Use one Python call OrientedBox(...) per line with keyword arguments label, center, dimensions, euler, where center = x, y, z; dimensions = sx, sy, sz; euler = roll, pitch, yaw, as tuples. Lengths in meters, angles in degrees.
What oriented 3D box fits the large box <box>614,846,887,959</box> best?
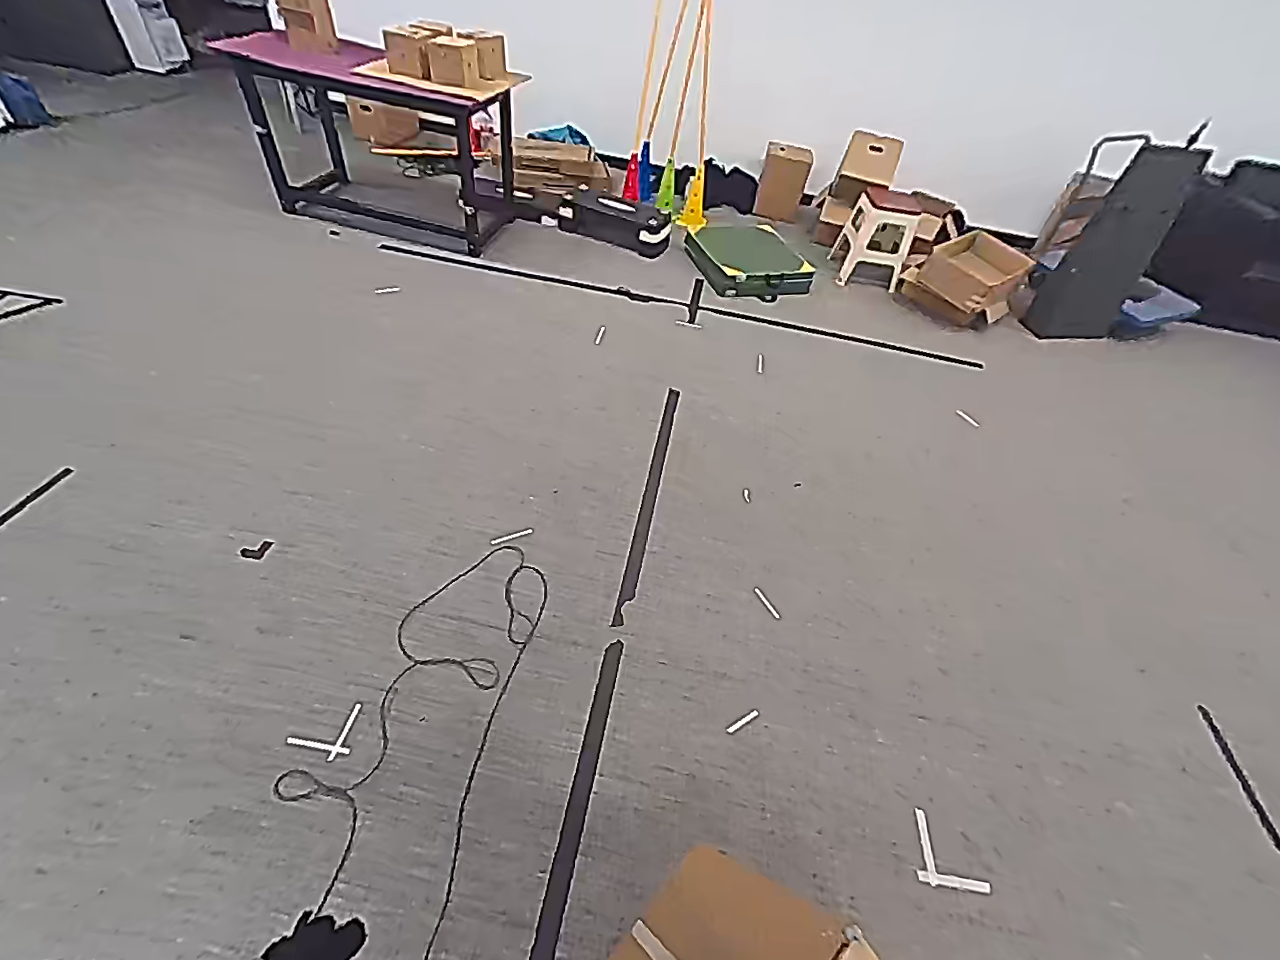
OrientedBox(label="large box", center=(0.167, 0.755, 0.680), dimensions=(0.320, 0.408, 0.320), euler=(-39, 87, -29))
